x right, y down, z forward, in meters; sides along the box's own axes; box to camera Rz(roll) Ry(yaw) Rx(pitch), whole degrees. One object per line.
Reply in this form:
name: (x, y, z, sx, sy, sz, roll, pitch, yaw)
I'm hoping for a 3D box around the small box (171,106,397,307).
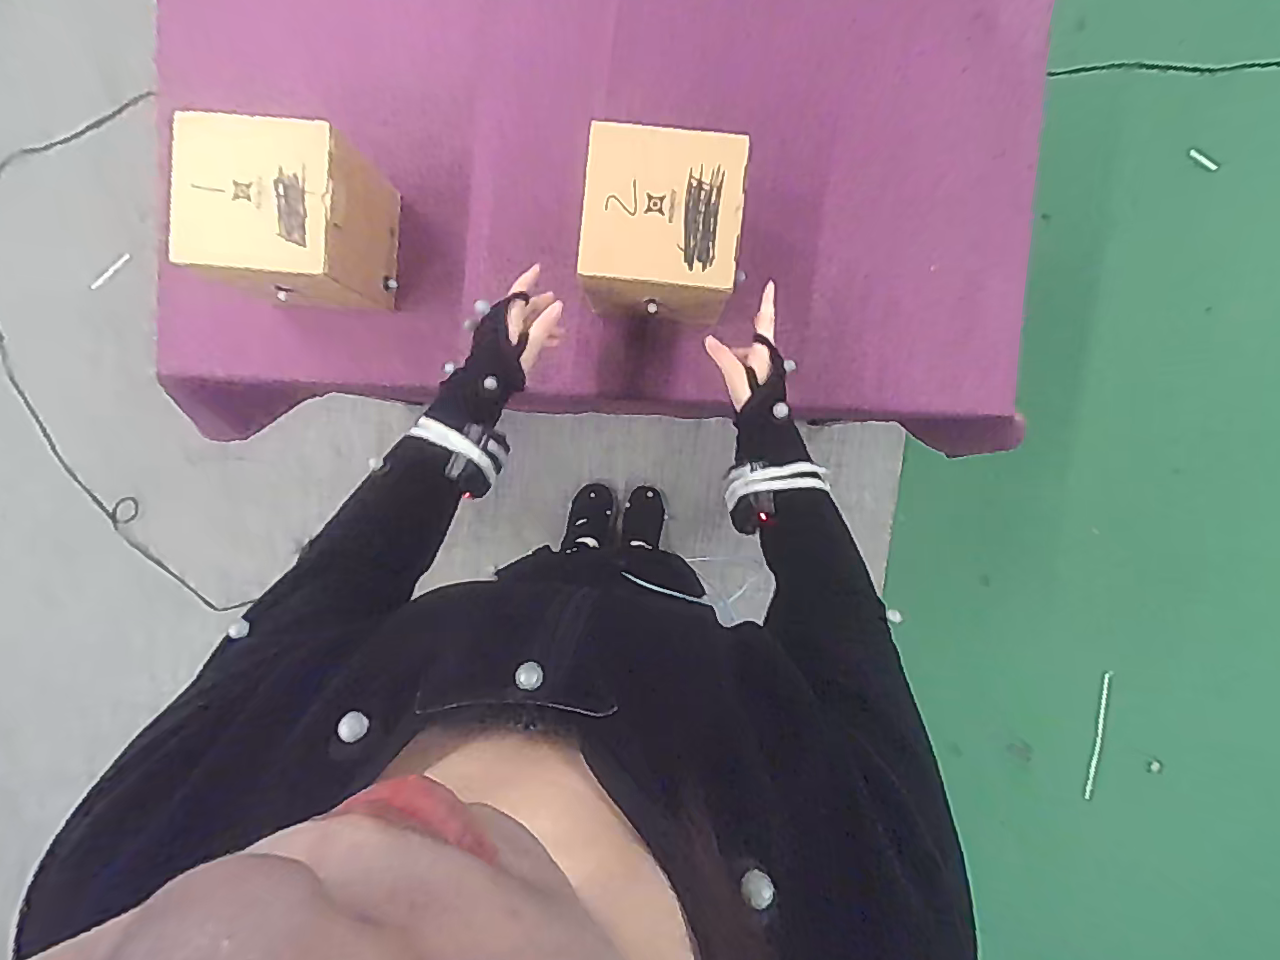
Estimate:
small box: (-0.423, -0.321, 0.671, 0.179, 0.176, 0.168, 5, 93, 0)
